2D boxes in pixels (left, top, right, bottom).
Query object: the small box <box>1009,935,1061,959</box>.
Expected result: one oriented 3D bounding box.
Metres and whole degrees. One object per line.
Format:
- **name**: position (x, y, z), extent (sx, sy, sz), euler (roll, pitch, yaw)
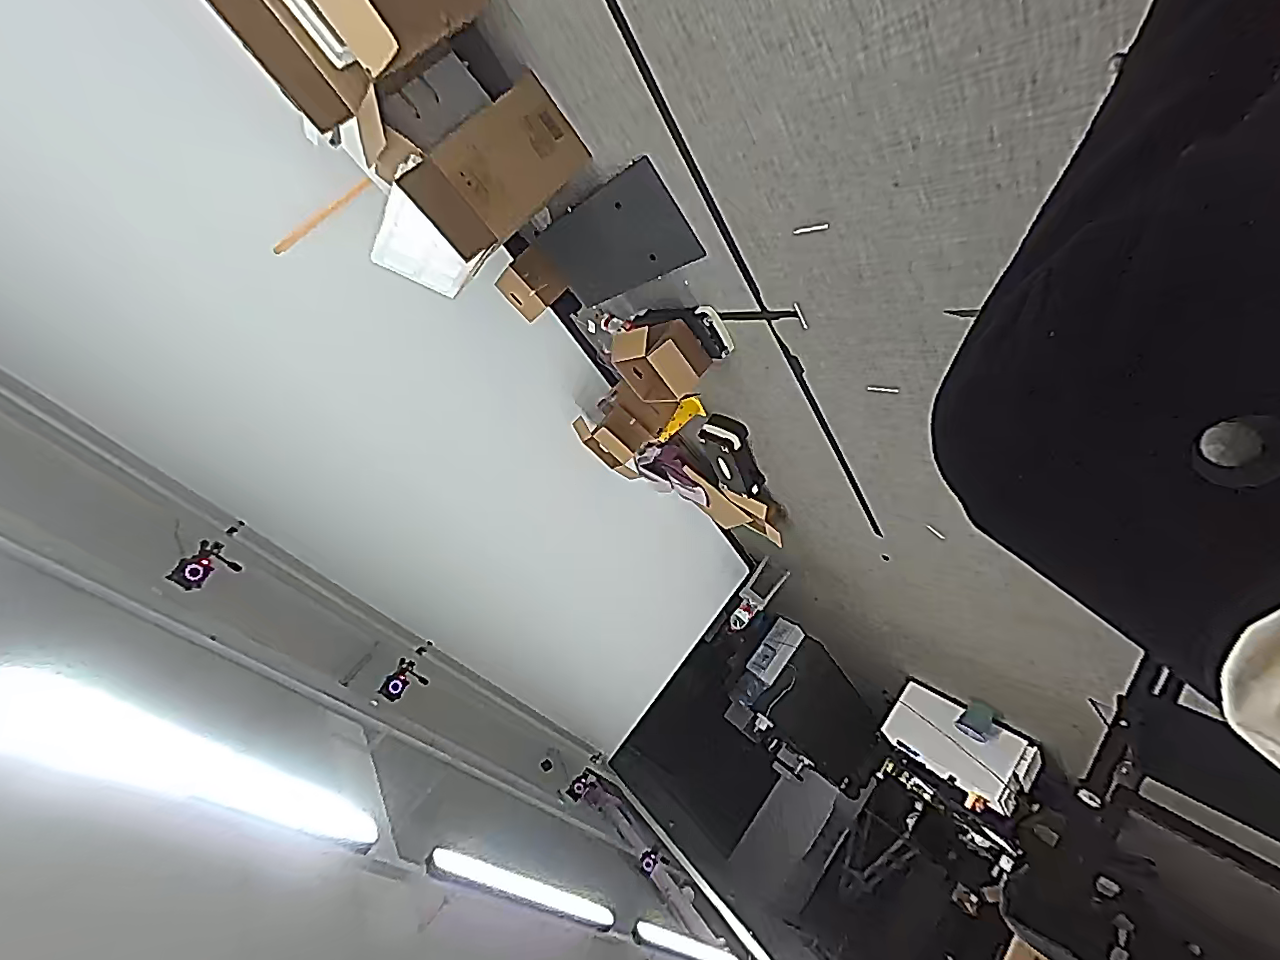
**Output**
- **small box**: position (1.091, 1.365, 1.440), extent (0.179, 0.176, 0.168), euler (42, 167, -30)
